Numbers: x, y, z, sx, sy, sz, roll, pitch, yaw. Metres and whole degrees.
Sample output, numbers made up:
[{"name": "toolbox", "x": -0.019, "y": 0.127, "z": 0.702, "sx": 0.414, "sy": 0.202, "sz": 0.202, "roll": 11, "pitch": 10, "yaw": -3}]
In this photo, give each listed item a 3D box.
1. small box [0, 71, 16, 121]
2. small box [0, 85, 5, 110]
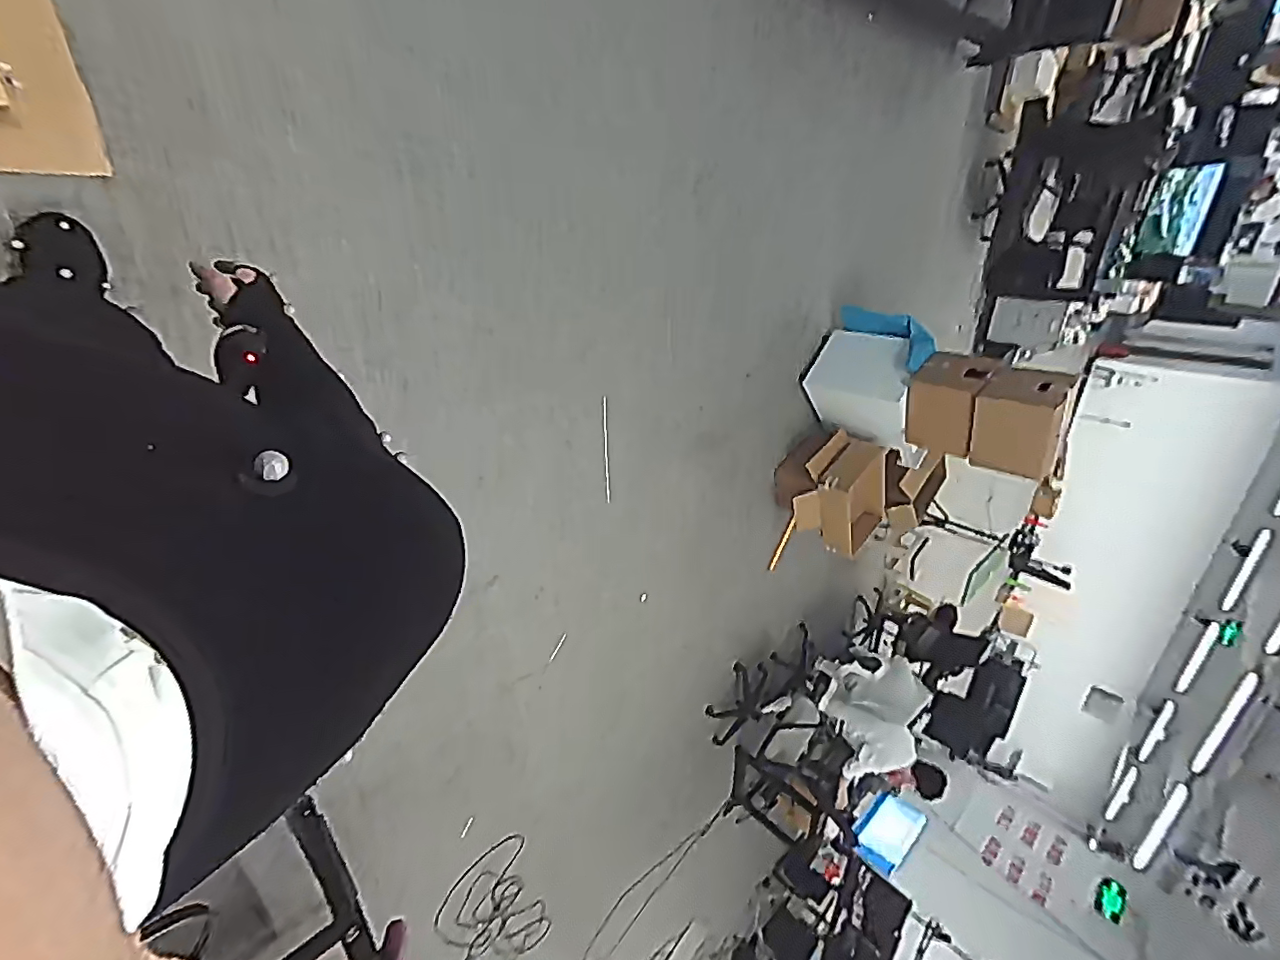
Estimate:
[{"name": "small box", "x": -1.148, "y": -0.681, "z": 0.851, "sx": 0.179, "sy": 0.176, "sz": 0.168, "roll": -20, "pitch": 122, "yaw": -39}, {"name": "small box", "x": -1.038, "y": -0.623, "z": 0.747, "sx": 0.179, "sy": 0.176, "sz": 0.168, "roll": -20, "pitch": 123, "yaw": -37}]
